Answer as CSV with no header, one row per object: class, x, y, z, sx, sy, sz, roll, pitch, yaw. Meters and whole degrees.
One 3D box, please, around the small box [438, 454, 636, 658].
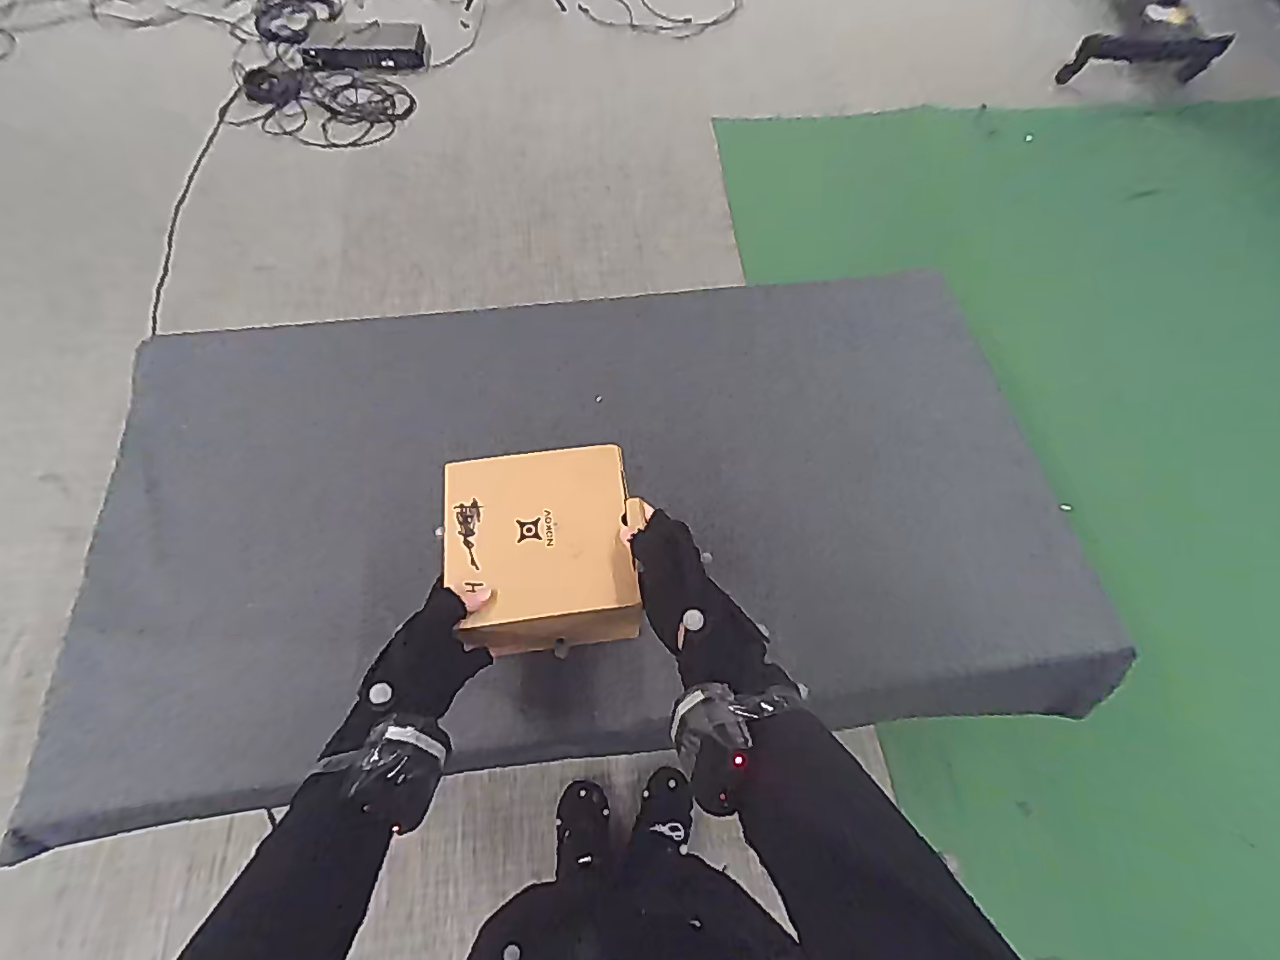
small box,-0.102,0.088,0.580,0.179,0.176,0.168,-6,64,-4
